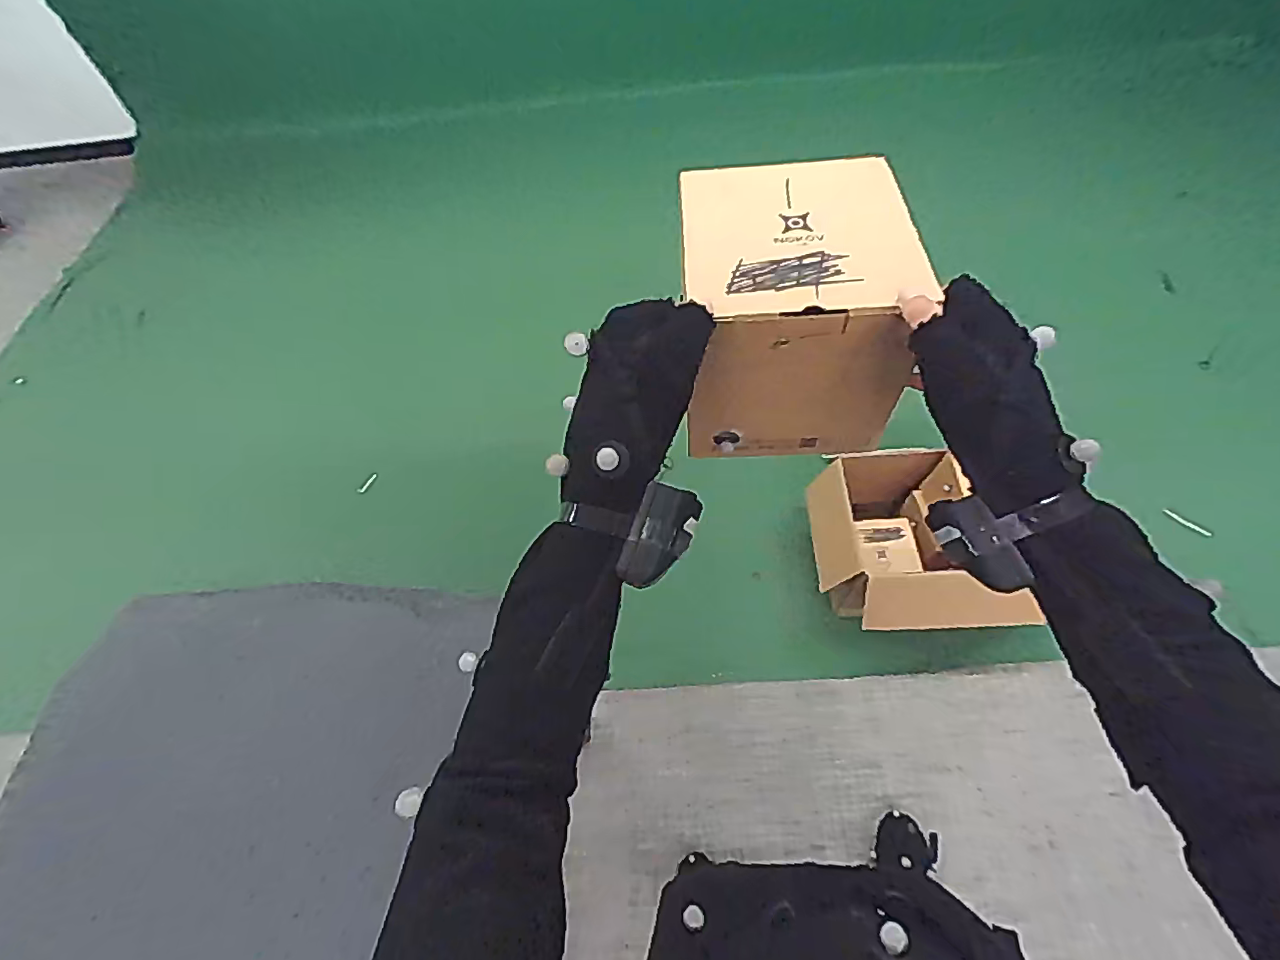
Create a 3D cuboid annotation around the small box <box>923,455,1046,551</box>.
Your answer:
[{"bbox_3d":[0.795,0.058,1.268,0.168,0.176,0.179,1,58,3],"label":"small box"}]

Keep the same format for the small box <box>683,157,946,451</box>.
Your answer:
[{"bbox_3d":[0.122,-0.135,0.455,0.168,0.176,0.179,-1,58,5],"label":"small box"}]
